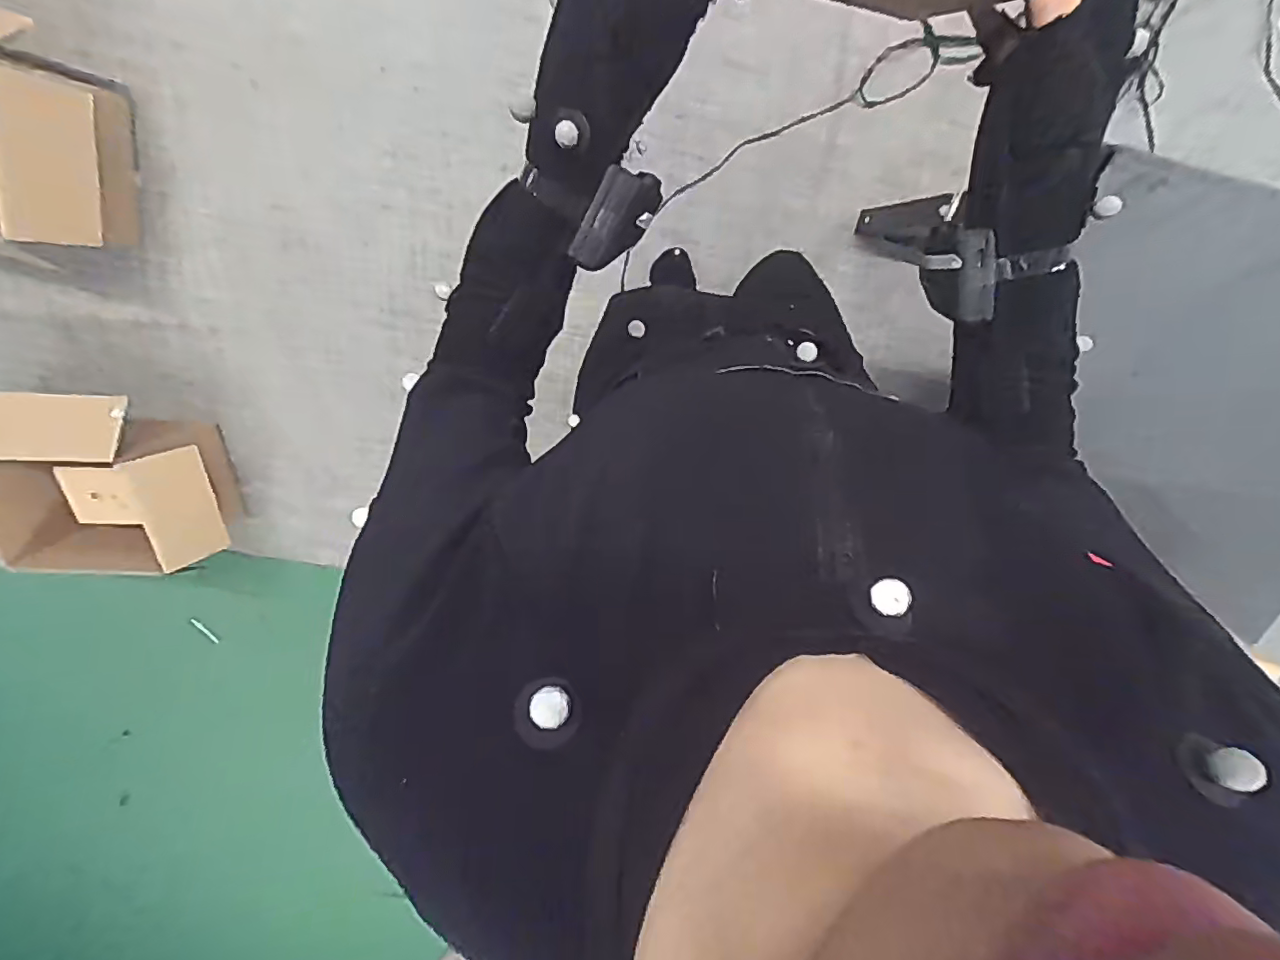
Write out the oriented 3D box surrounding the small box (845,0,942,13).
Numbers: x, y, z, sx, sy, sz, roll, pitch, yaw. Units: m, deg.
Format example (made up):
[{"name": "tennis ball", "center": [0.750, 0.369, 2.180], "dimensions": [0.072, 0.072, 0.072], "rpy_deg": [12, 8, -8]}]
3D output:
[{"name": "small box", "center": [0.131, -0.369, 0.271], "dimensions": [0.168, 0.176, 0.179], "rpy_deg": [8, 124, -7]}]
